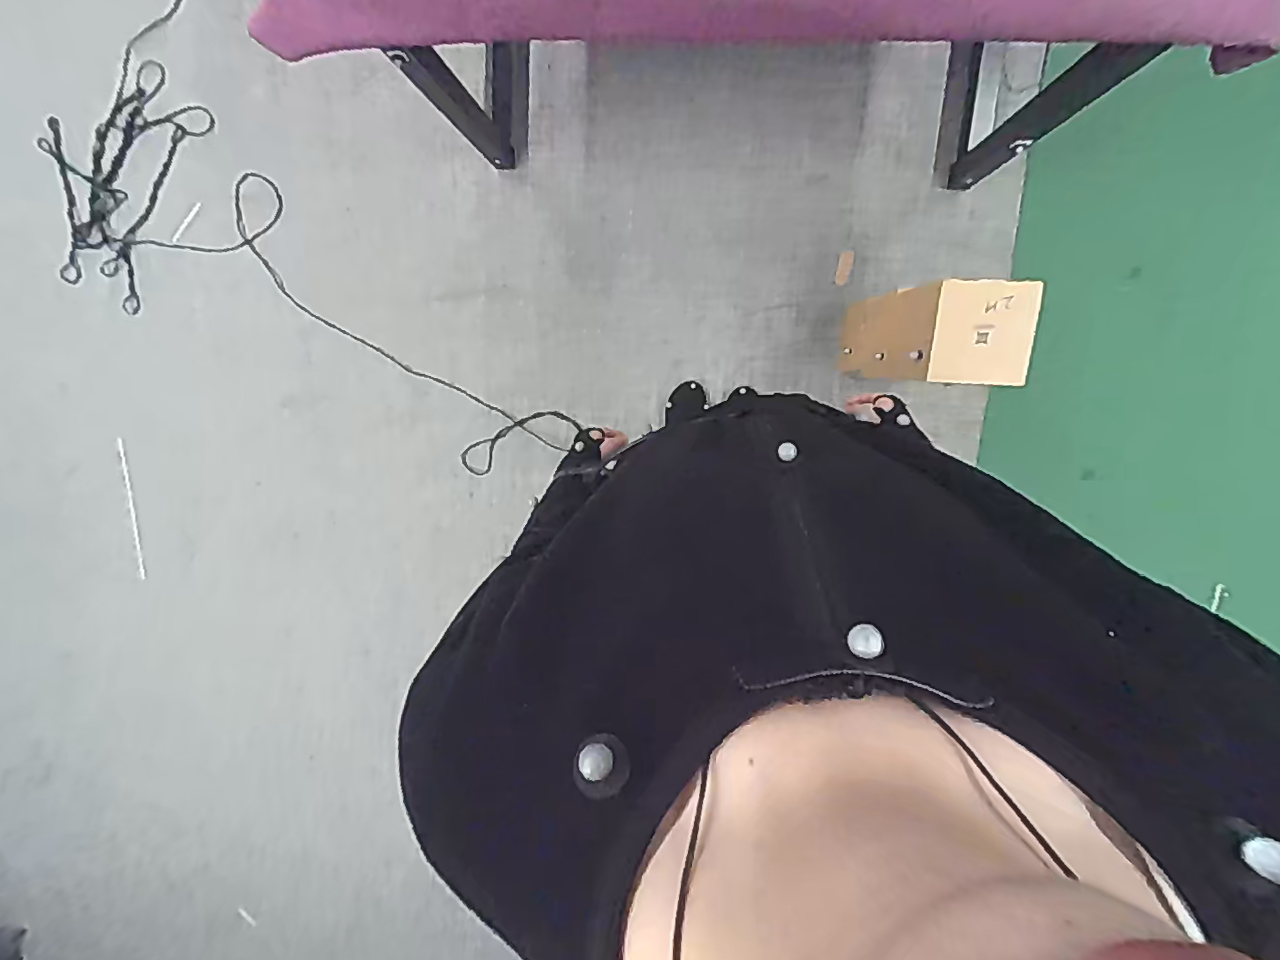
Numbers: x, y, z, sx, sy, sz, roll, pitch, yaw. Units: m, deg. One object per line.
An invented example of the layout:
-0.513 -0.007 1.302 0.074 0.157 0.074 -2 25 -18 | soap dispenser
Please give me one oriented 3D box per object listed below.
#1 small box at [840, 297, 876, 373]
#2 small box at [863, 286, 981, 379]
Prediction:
0.603 -0.344 1.318 0.179 0.176 0.168 6 101 4 | small box
0.593 -0.311 1.160 0.168 0.176 0.179 3 102 5 | small box
